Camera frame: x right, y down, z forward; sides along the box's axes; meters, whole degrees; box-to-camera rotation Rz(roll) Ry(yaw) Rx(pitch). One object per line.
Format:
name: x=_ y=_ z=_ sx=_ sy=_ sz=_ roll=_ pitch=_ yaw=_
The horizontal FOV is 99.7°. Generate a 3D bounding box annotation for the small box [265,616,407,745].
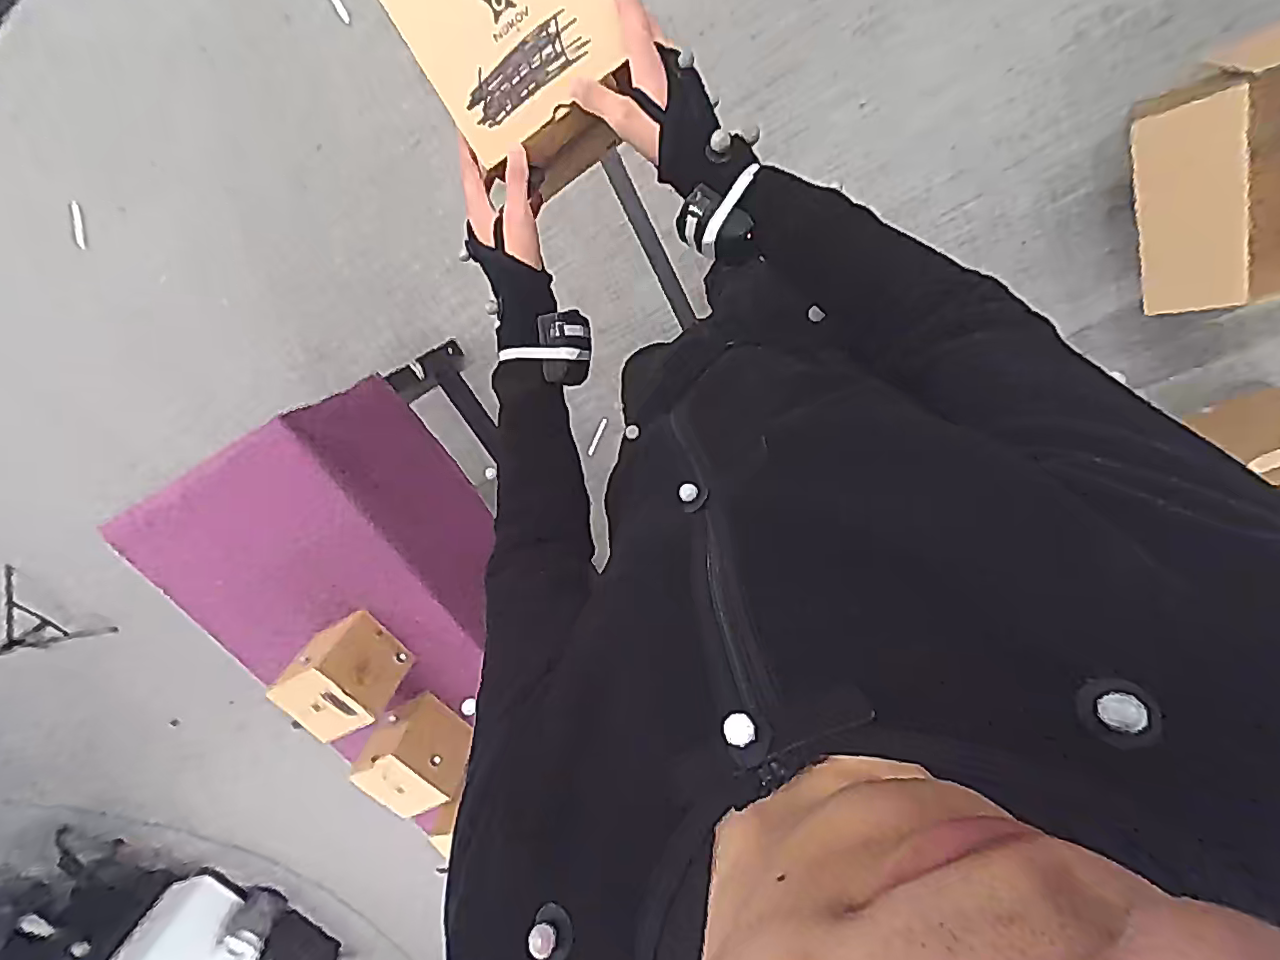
small box: x=-0.629 y=0.421 z=1.149 sx=0.179 sy=0.176 sz=0.168 roll=-29 pitch=110 yaw=22

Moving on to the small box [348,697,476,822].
small box: x=-0.514 y=0.639 z=1.246 sx=0.168 sy=0.176 sz=0.179 roll=-34 pitch=108 yaw=22
